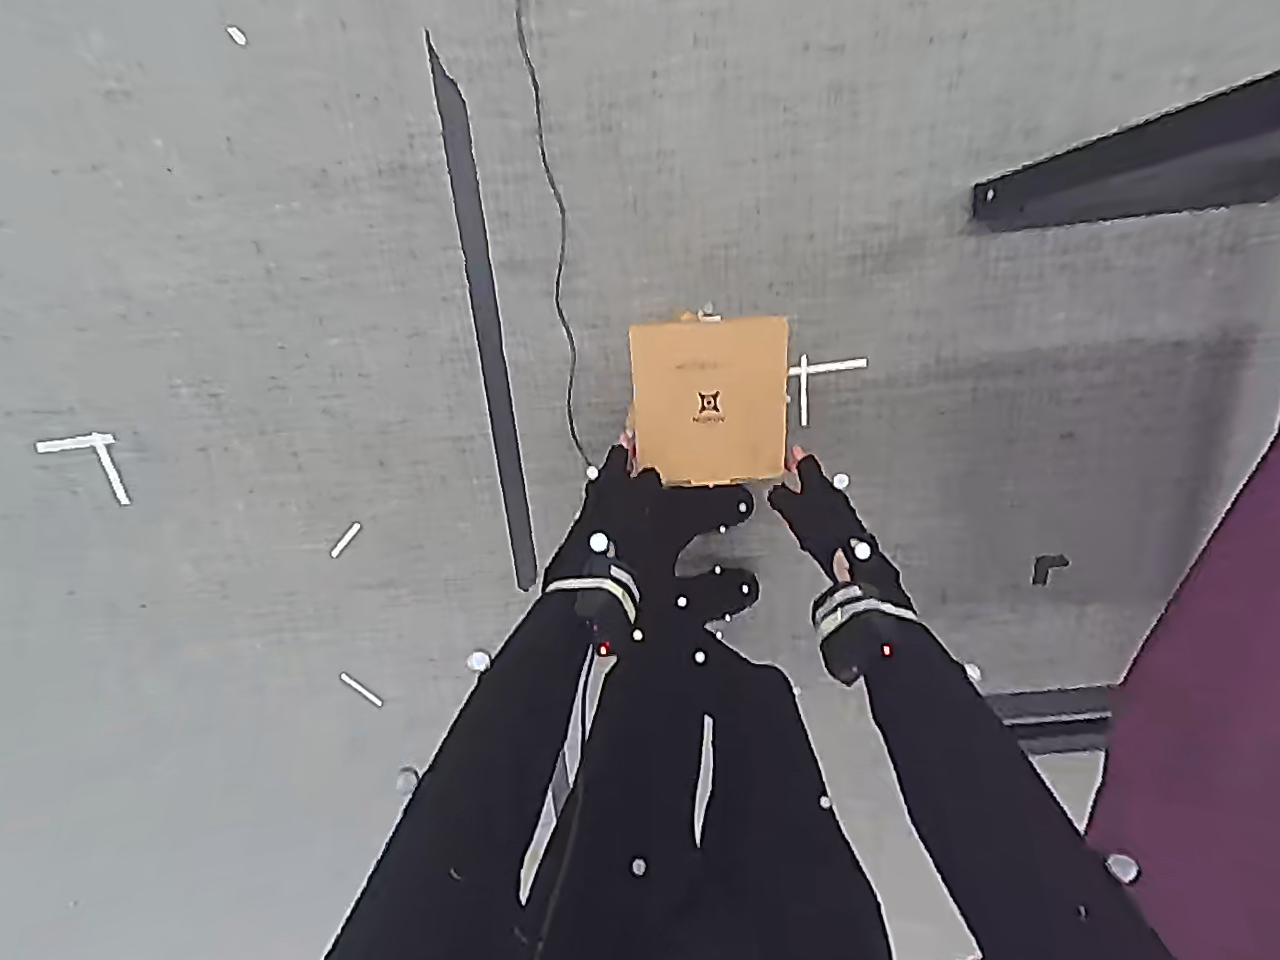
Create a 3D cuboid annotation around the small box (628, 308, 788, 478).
[{"bbox_3d":[0.076,-0.112,0.652,0.168,0.176,0.179,-3,107,2],"label":"small box"}]
